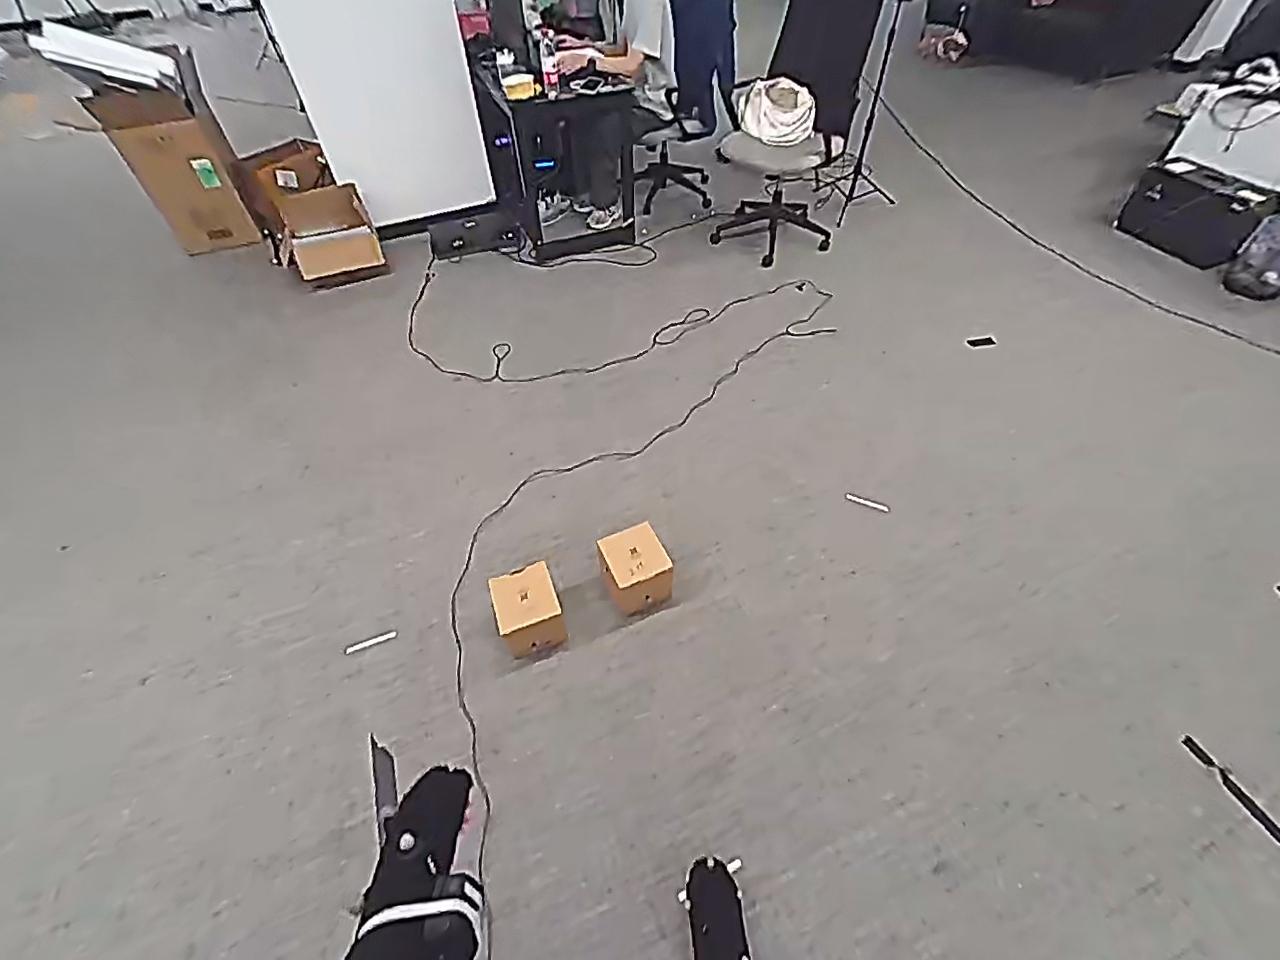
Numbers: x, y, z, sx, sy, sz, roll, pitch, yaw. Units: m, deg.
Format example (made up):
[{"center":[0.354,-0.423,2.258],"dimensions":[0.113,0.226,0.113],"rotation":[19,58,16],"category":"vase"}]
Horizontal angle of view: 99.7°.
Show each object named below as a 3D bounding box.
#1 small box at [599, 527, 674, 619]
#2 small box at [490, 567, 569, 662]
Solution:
[{"center":[-0.011,0.273,1.585],"dimensions":[0.168,0.176,0.179],"rotation":[-21,52,-14],"category":"small box"},{"center":[-0.306,0.377,1.511],"dimensions":[0.168,0.176,0.179],"rotation":[-18,52,-12],"category":"small box"}]
